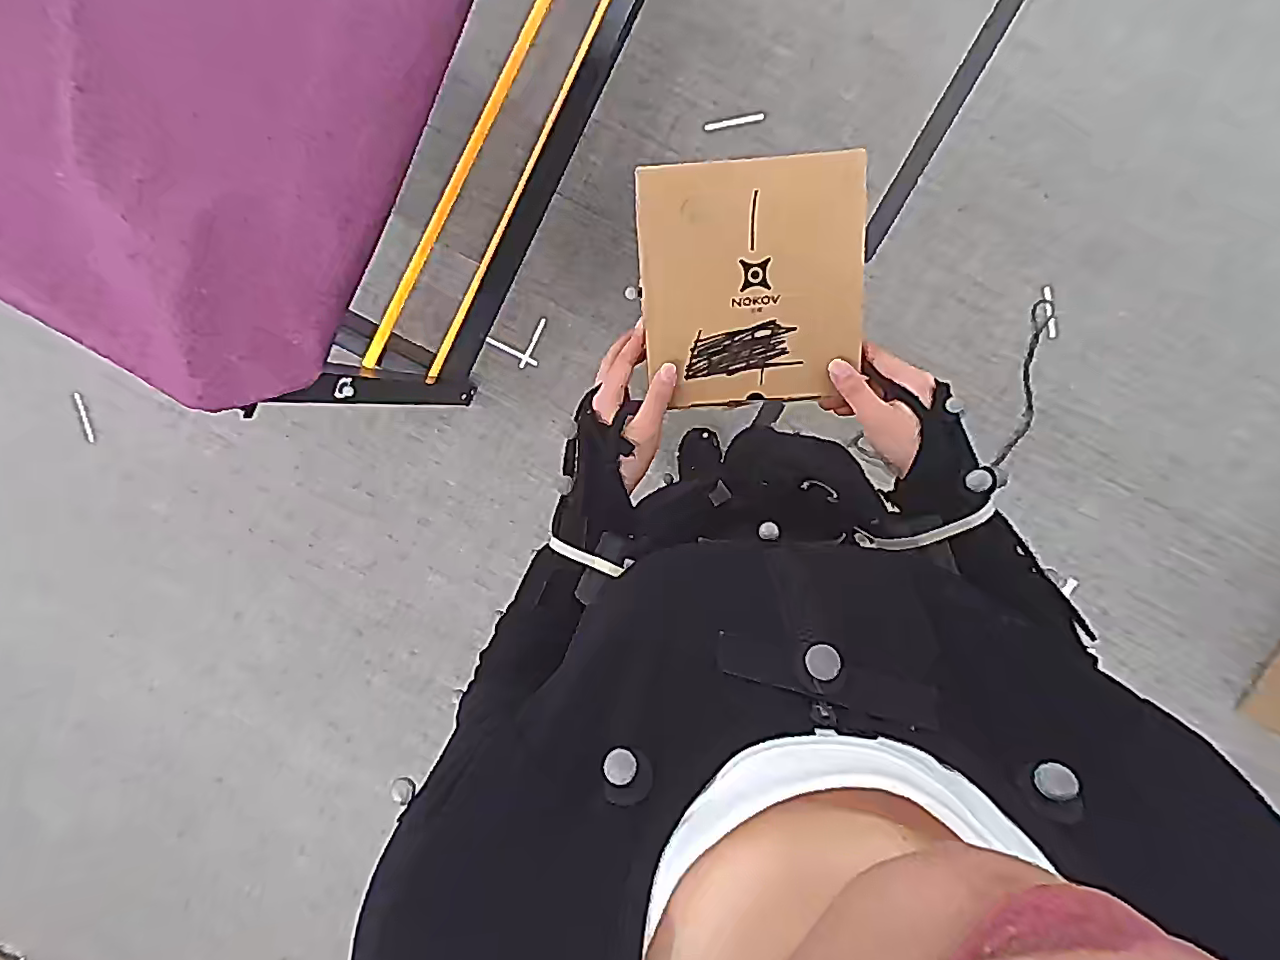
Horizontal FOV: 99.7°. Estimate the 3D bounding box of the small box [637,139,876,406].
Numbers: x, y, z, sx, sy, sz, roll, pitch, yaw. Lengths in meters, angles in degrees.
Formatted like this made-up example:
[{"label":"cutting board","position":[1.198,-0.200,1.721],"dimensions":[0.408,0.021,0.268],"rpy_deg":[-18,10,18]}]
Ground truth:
[{"label":"small box","position":[0.085,-0.165,0.469],"dimensions":[0.168,0.176,0.179],"rpy_deg":[-4,104,1]}]
